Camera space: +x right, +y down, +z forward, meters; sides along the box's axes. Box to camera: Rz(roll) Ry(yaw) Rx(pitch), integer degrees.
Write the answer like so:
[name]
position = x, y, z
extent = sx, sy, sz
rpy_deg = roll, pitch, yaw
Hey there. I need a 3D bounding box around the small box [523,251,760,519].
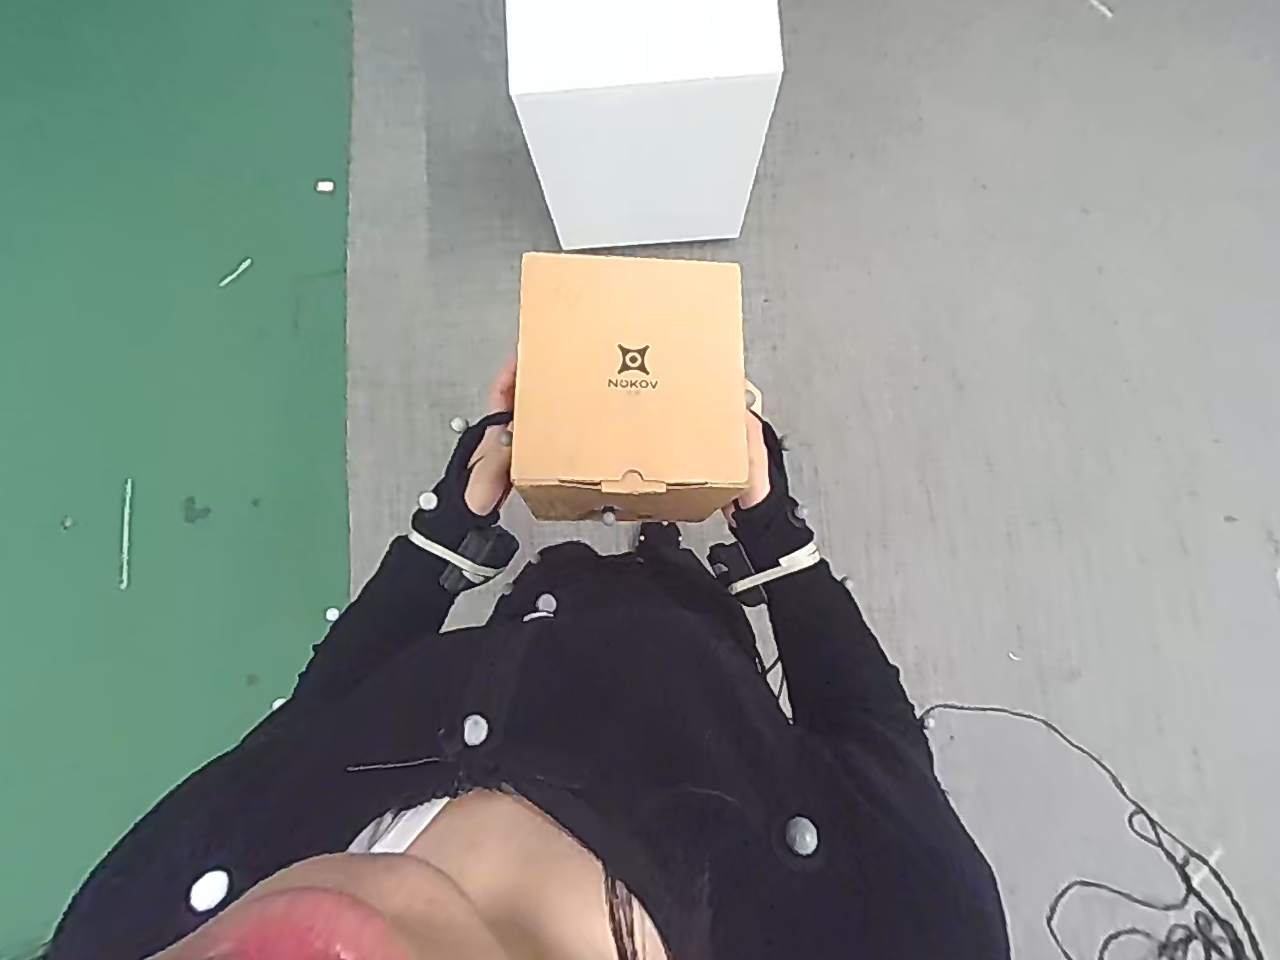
[small box]
position = -0.006, -0.066, 0.463
extent = 0.168, 0.176, 0.179
rpy_deg = 0, 78, -5
